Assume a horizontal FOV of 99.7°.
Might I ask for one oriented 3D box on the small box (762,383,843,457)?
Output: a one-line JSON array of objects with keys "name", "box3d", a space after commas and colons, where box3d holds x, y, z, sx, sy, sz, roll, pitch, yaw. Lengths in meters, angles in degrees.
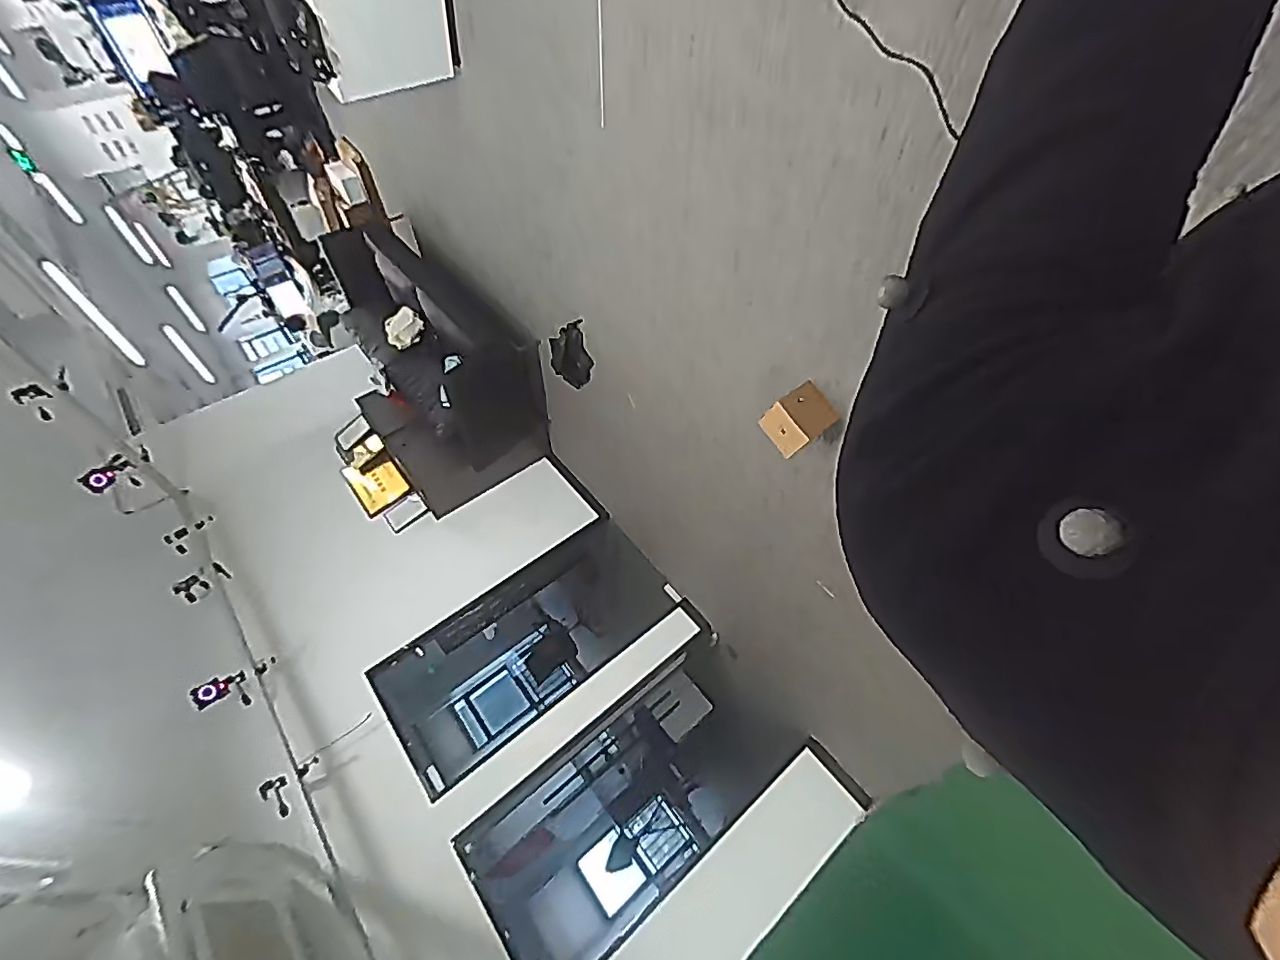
[{"name": "small box", "box3d": [0.572, -0.218, 1.908, 0.179, 0.176, 0.168, 52, 158, 10]}]
